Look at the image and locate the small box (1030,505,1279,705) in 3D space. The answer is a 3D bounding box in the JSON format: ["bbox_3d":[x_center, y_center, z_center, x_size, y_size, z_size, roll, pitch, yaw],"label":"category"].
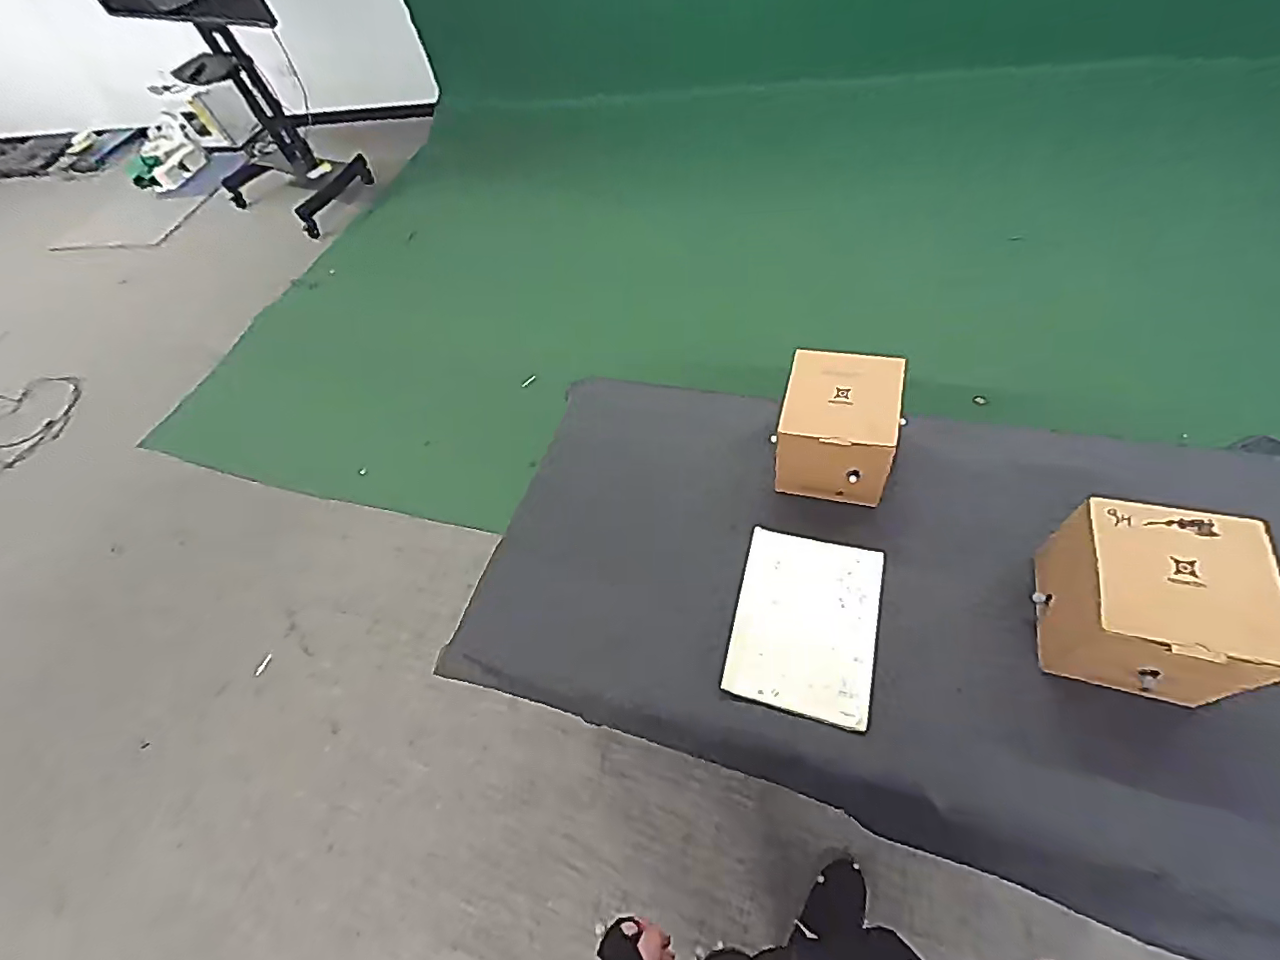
[{"bbox_3d":[0.607,0.158,0.664,0.168,0.176,0.179,10,61,18],"label":"small box"}]

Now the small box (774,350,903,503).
[{"bbox_3d":[0.312,-0.083,0.870,0.168,0.176,0.179,10,59,17],"label":"small box"}]
